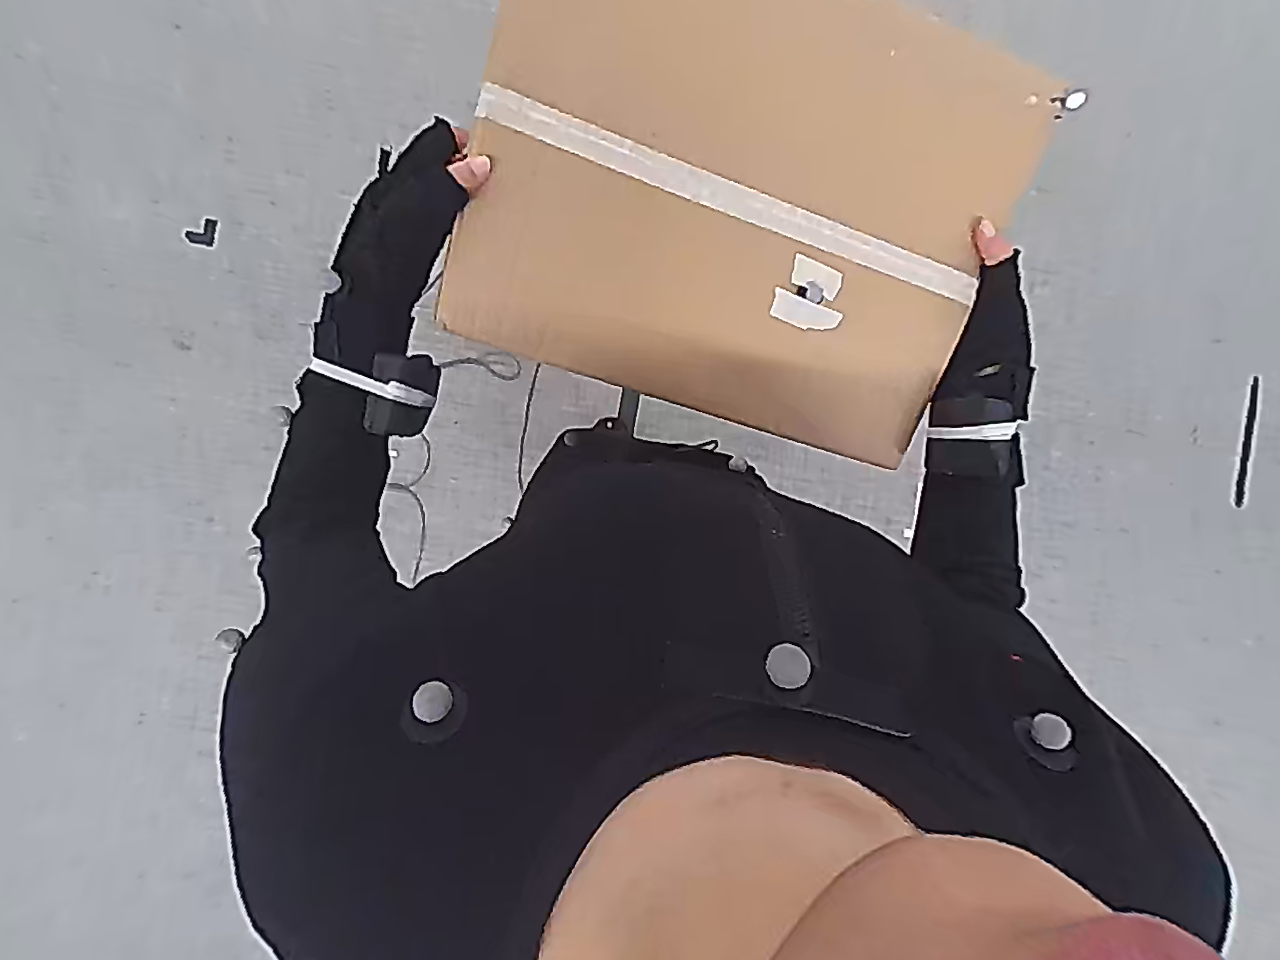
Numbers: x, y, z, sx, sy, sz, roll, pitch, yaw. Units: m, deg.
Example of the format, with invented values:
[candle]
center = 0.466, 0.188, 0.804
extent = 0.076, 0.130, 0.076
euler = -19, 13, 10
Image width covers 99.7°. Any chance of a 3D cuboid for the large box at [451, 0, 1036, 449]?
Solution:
[large box]
center = 0.060, -0.257, 0.560
extent = 0.408, 0.320, 0.320
euler = 15, 106, -13
